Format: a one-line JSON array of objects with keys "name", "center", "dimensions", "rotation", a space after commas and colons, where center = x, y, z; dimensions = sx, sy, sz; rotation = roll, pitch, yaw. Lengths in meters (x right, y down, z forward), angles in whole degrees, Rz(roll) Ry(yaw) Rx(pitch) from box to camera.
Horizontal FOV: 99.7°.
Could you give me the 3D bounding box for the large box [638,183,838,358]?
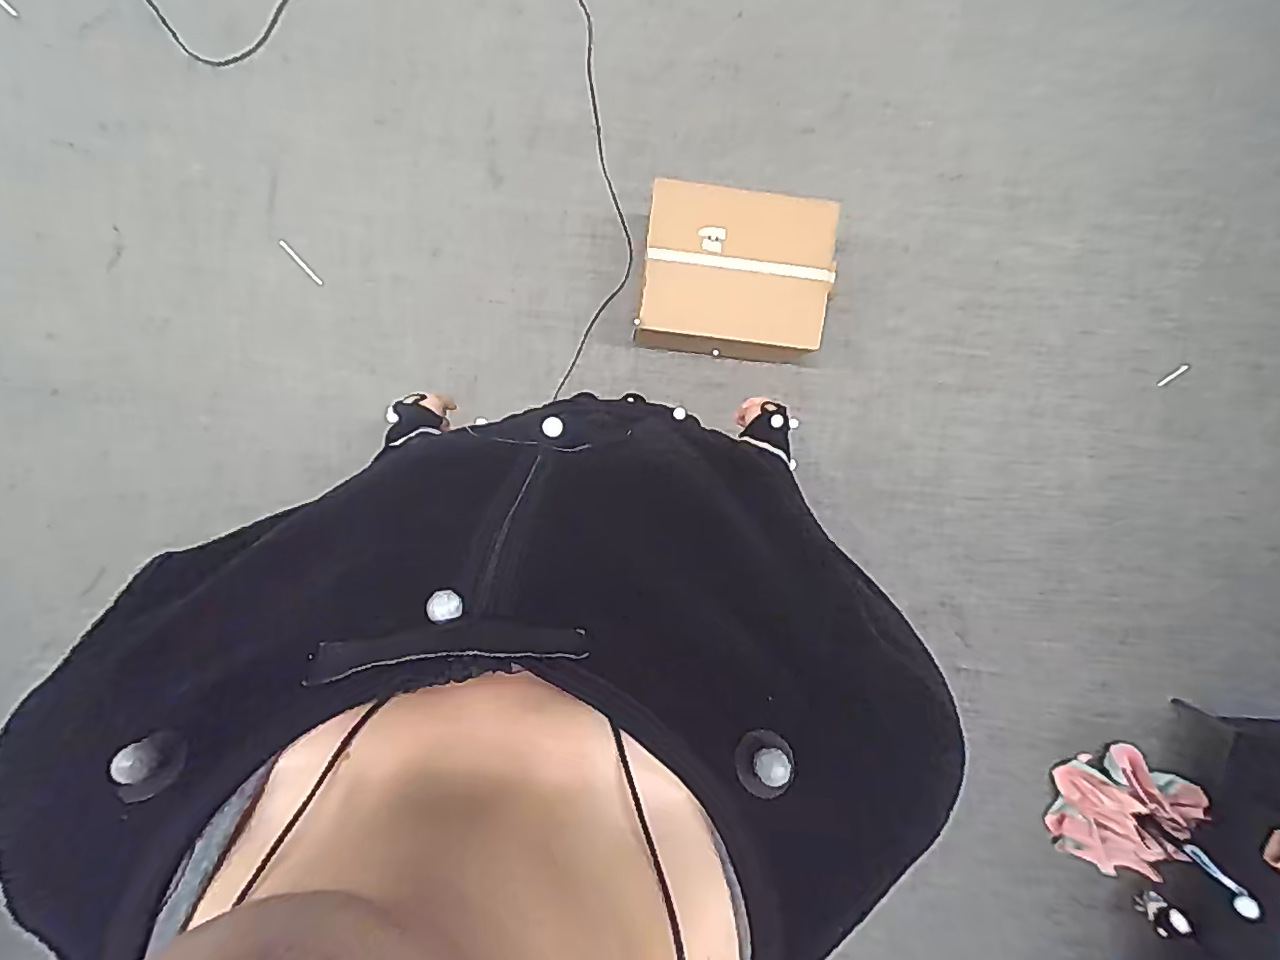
[{"name": "large box", "center": [0.210, -0.480, 1.313], "dimensions": [0.408, 0.320, 0.320], "rotation": [6, 97, -2]}]
